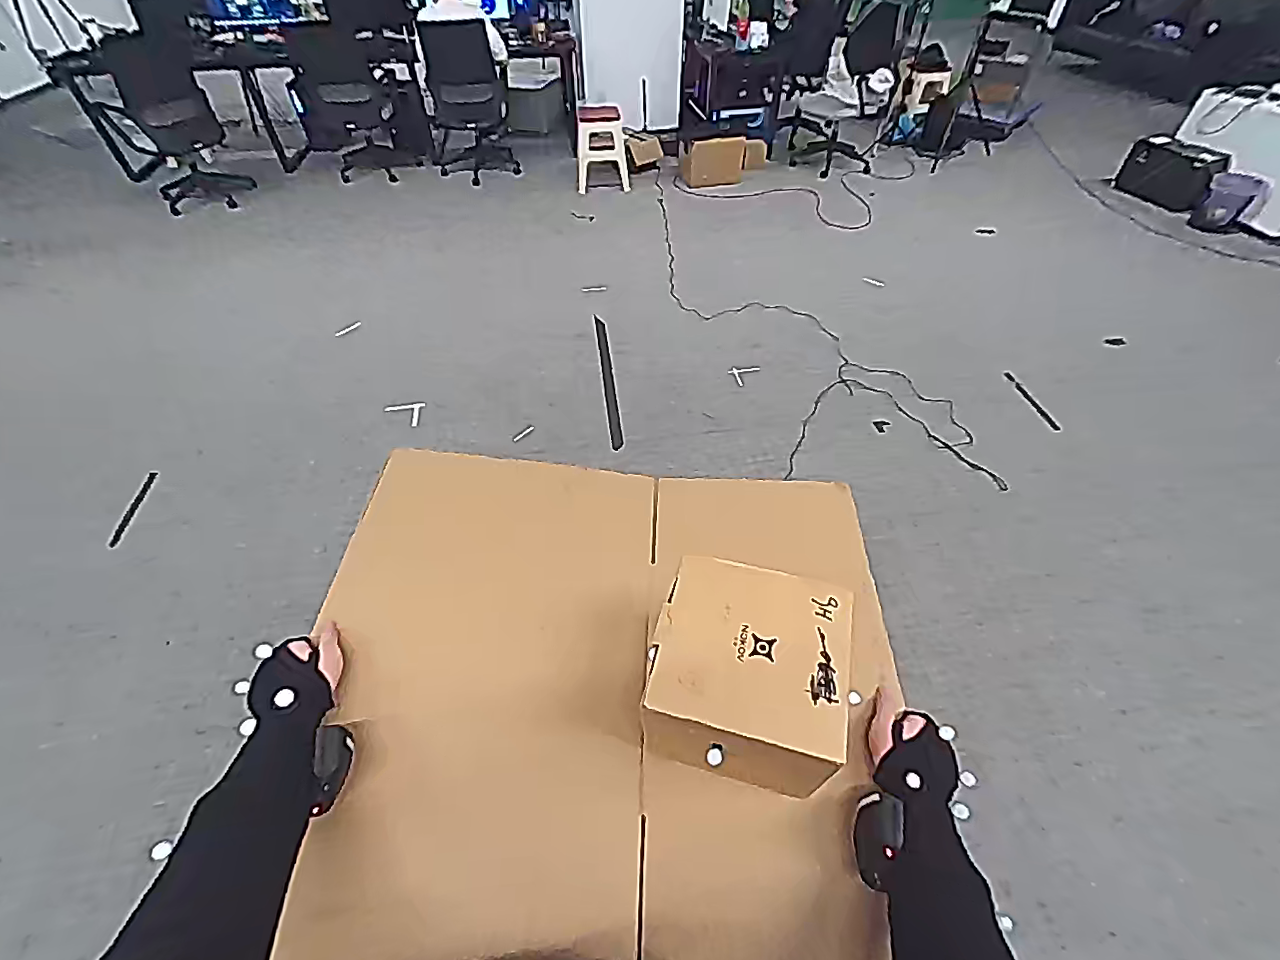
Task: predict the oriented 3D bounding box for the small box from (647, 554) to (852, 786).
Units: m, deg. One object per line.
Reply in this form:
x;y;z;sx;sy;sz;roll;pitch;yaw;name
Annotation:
0.115;0.205;0.577;0.179;0.176;0.168;10;52;13;small box
